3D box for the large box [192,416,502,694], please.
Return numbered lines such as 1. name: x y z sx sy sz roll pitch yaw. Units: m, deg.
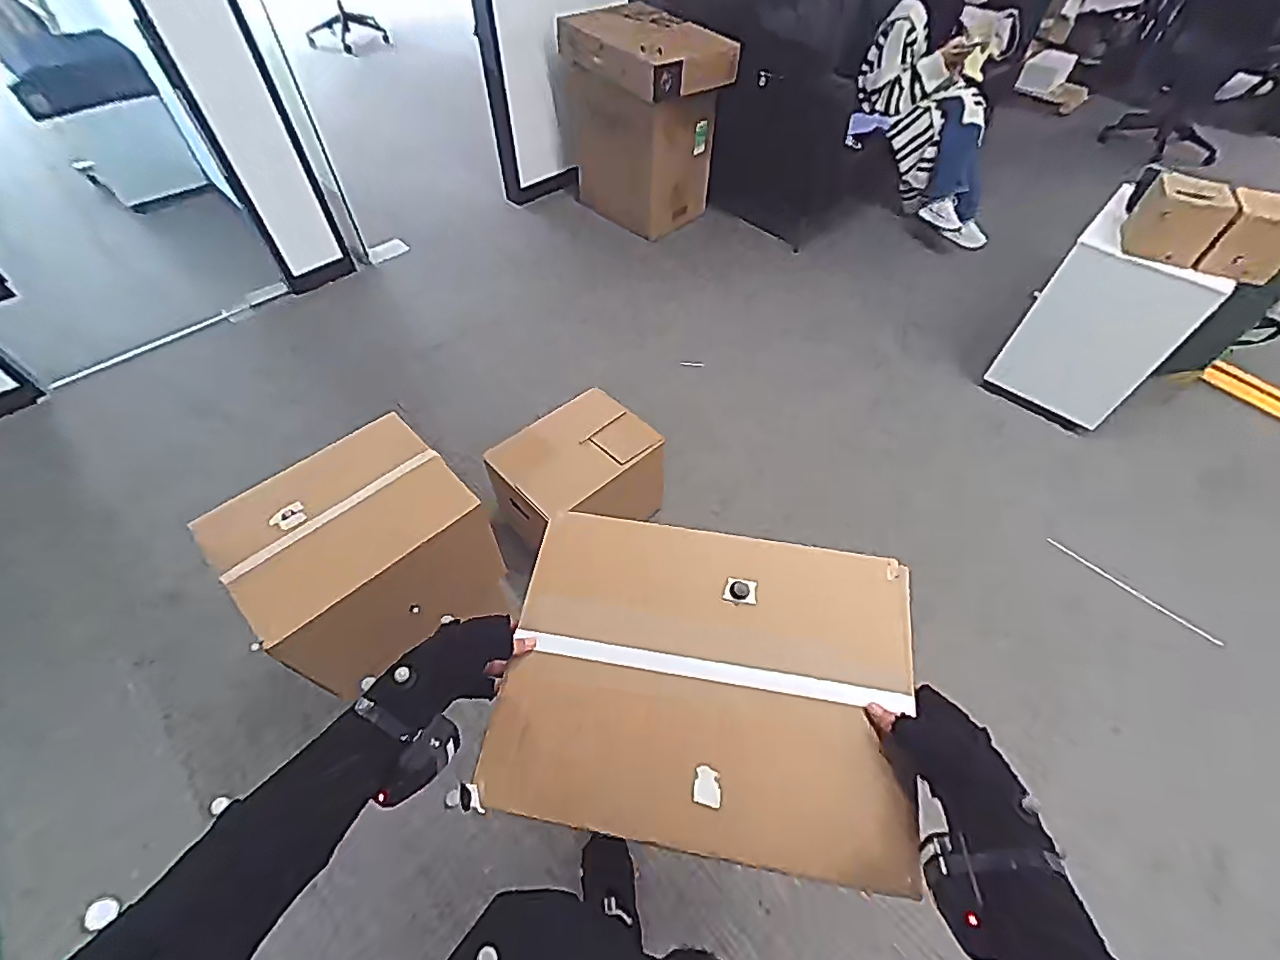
1. large box: -0.551 0.150 1.100 0.408 0.320 0.320 -38 65 -25
